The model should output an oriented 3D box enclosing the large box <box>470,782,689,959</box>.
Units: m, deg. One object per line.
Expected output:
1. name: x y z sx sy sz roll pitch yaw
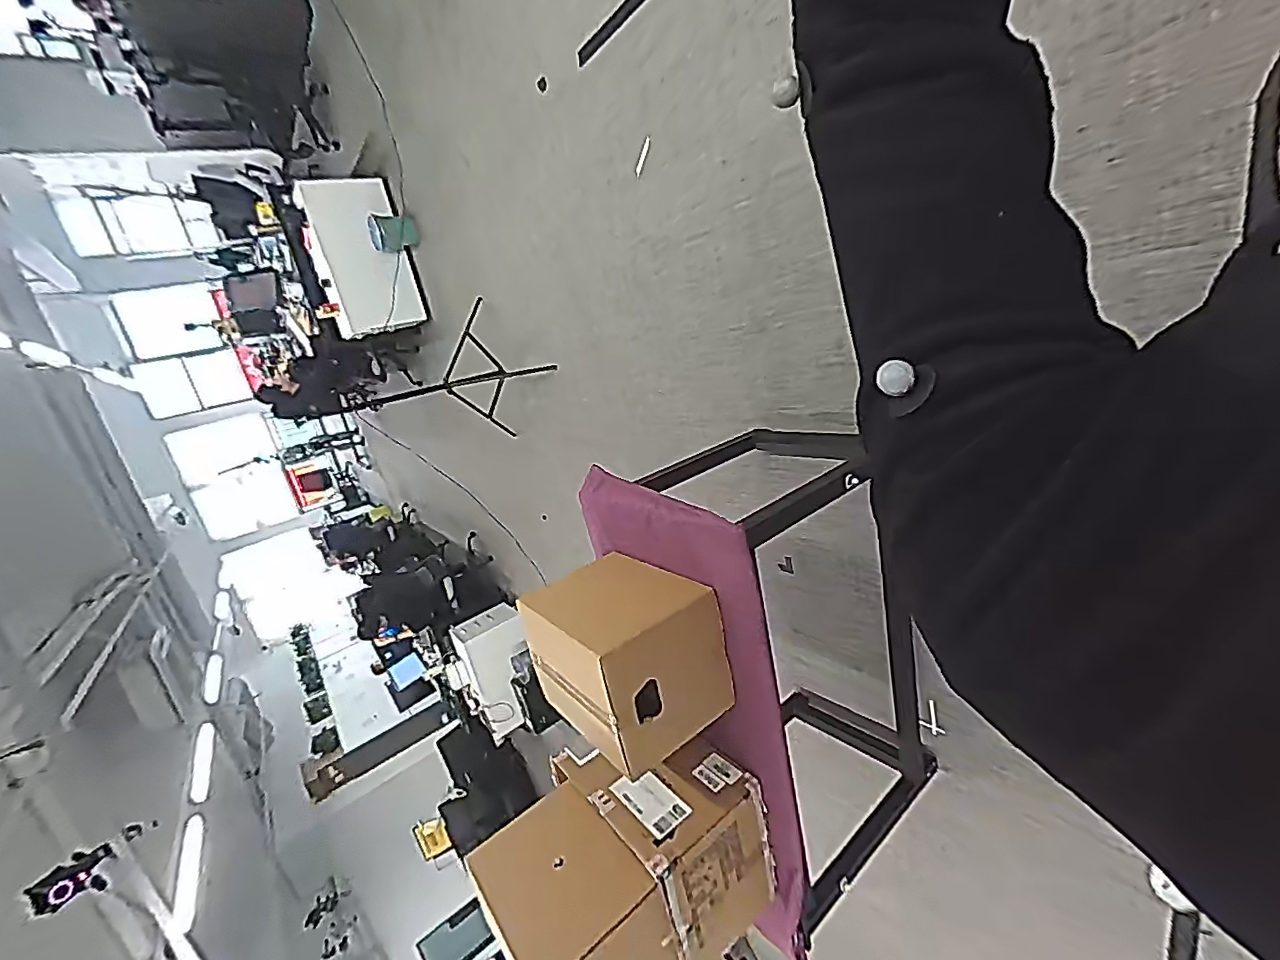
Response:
1. large box: -0.148 1.018 1.272 0.408 0.320 0.320 9 118 53
